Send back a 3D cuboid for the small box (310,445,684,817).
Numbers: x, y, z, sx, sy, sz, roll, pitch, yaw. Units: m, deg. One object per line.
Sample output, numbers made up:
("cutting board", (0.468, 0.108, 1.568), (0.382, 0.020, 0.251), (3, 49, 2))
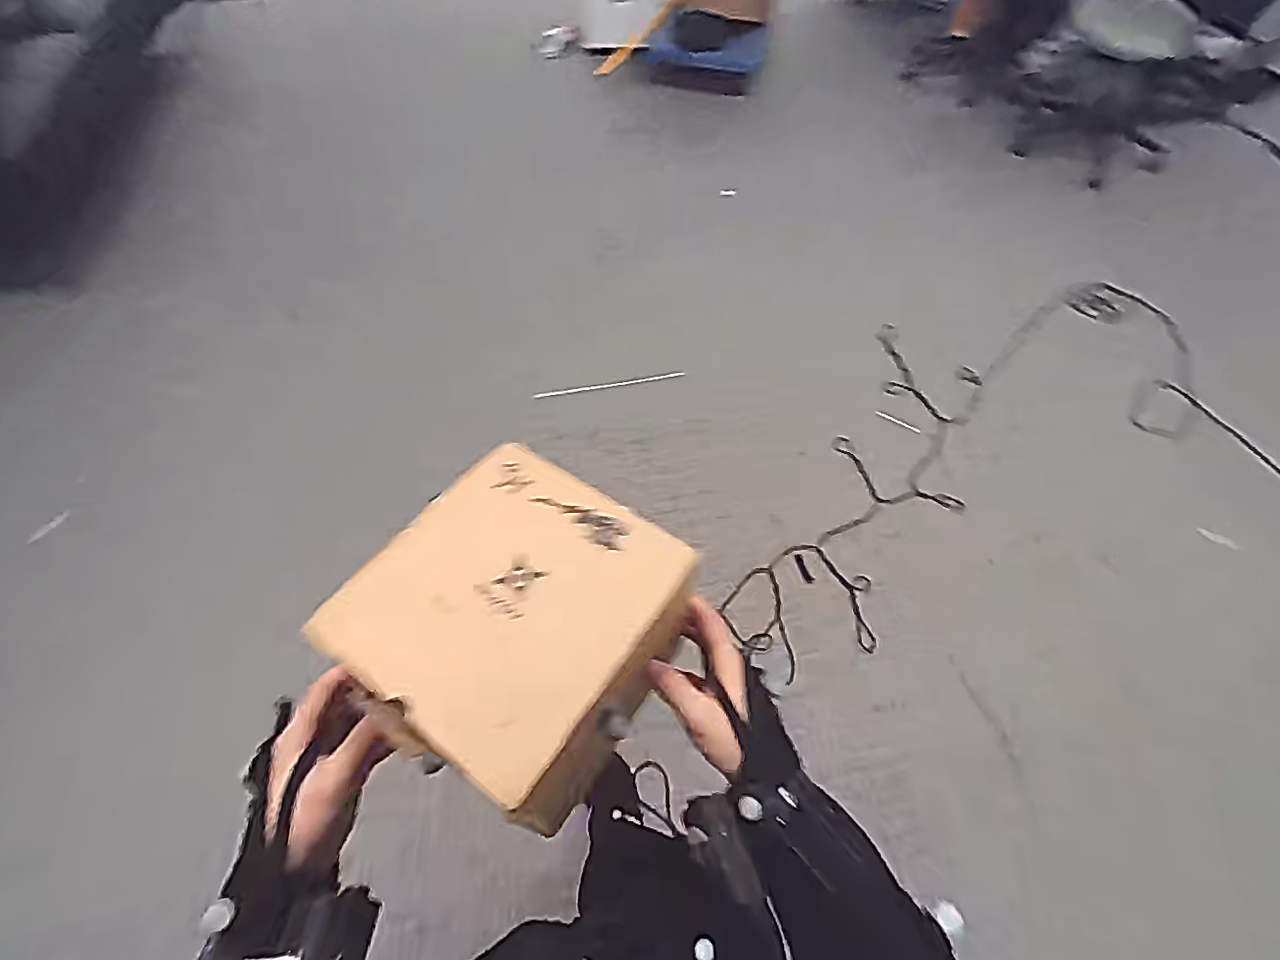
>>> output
("small box", (-0.082, 0.114, 0.397), (0.168, 0.176, 0.179), (29, 60, 20))
